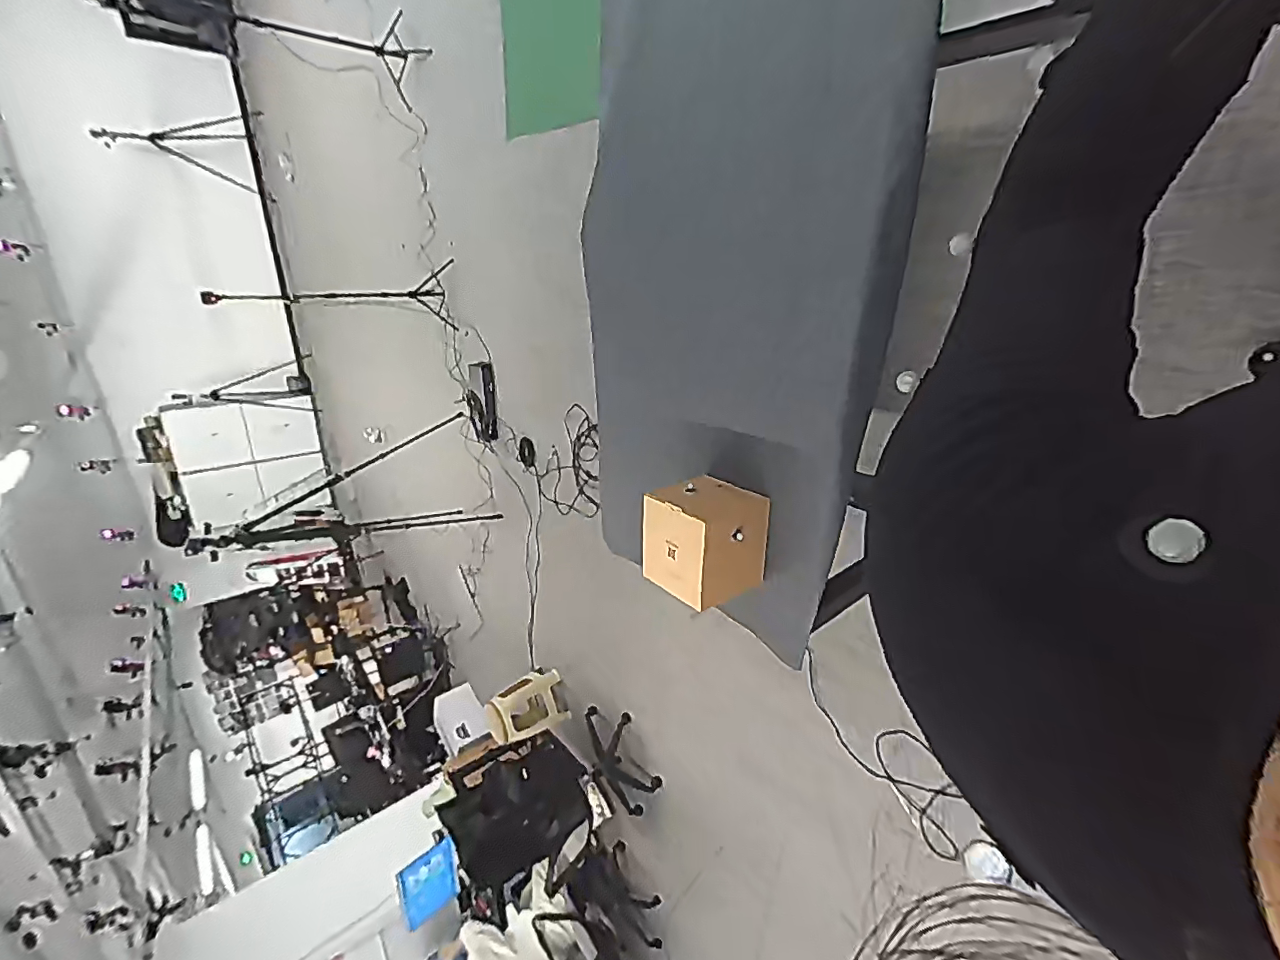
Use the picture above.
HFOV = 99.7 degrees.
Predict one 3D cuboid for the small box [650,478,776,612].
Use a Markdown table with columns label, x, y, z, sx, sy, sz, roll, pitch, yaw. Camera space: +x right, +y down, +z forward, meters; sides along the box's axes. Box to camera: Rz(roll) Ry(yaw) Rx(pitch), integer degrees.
| label | x | y | z | sx | sy | sz | roll | pitch | yaw |
| --- | --- | --- | --- | --- | --- | --- | --- | --- | --- |
| small box | 0.135 | 0.109 | 1.008 | 0.168 | 0.176 | 0.179 | 24 | 122 | 48 |
